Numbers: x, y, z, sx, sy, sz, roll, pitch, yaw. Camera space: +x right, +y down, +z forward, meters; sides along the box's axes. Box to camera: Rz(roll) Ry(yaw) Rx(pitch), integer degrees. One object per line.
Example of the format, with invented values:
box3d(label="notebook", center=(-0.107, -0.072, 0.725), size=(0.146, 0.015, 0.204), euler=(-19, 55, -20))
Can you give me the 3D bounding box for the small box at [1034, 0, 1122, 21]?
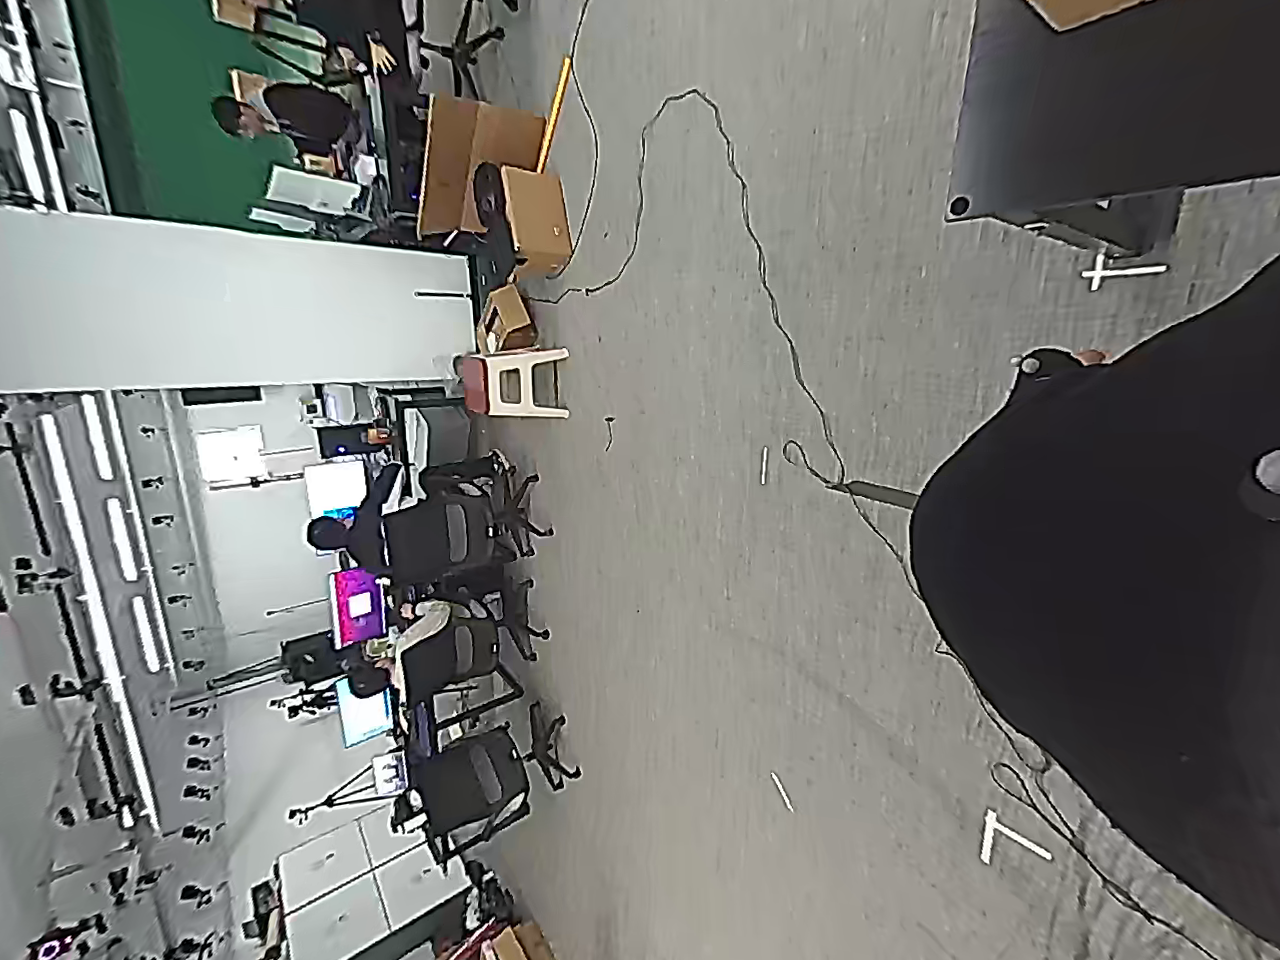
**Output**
box3d(label="small box", center=(0.458, -0.561, 0.476), size=(0.179, 0.176, 0.168), euler=(15, 110, 49))
